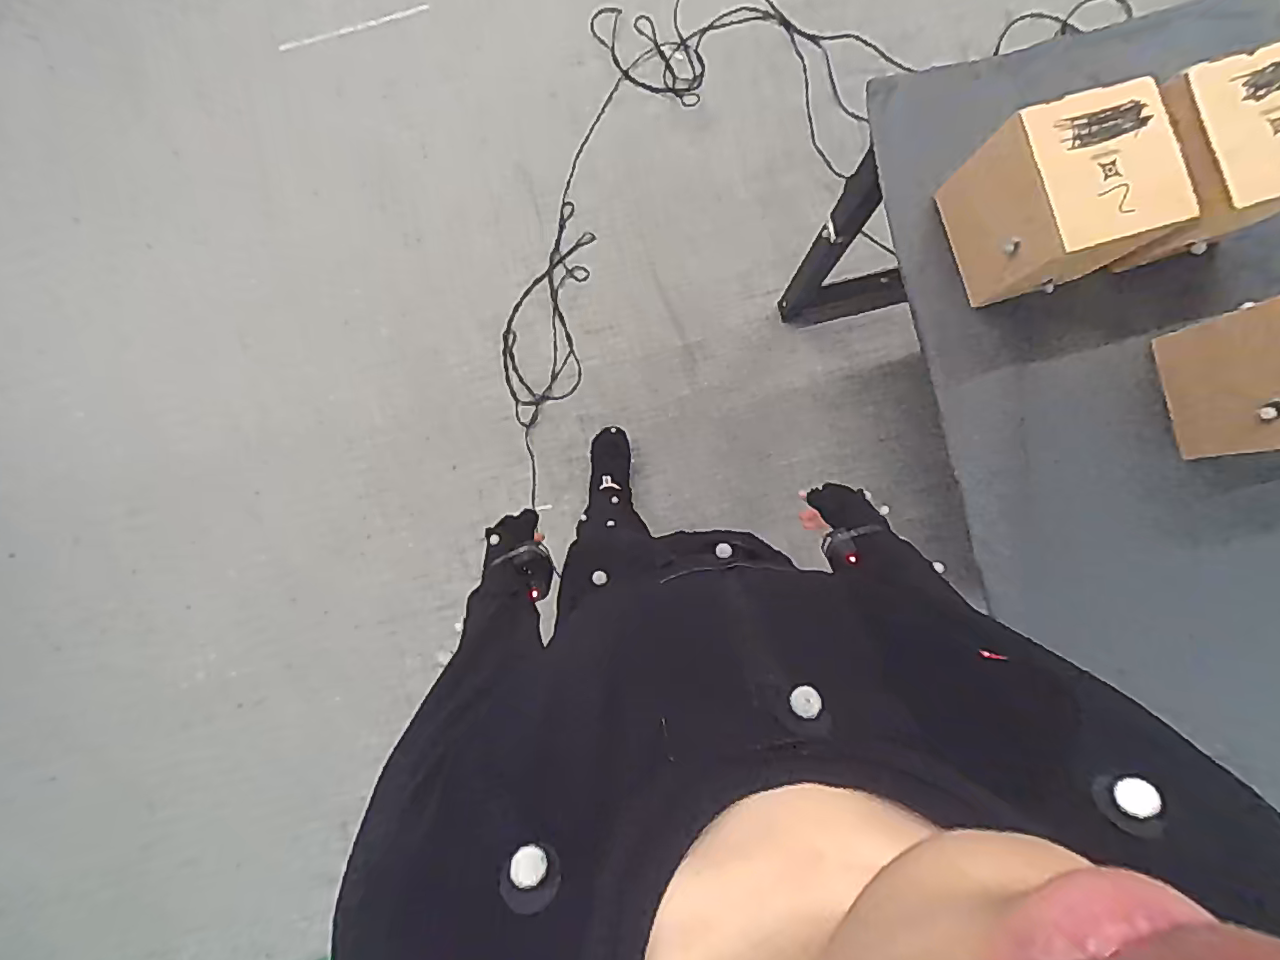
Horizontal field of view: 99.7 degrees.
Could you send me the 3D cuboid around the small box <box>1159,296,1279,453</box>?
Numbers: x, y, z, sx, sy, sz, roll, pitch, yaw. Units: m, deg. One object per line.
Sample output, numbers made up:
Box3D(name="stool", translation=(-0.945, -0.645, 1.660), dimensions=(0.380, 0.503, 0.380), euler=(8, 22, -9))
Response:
Box3D(name="small box", translation=(0.810, -0.133, 0.667), dimensions=(0.168, 0.176, 0.179), euler=(-11, 86, 0))
